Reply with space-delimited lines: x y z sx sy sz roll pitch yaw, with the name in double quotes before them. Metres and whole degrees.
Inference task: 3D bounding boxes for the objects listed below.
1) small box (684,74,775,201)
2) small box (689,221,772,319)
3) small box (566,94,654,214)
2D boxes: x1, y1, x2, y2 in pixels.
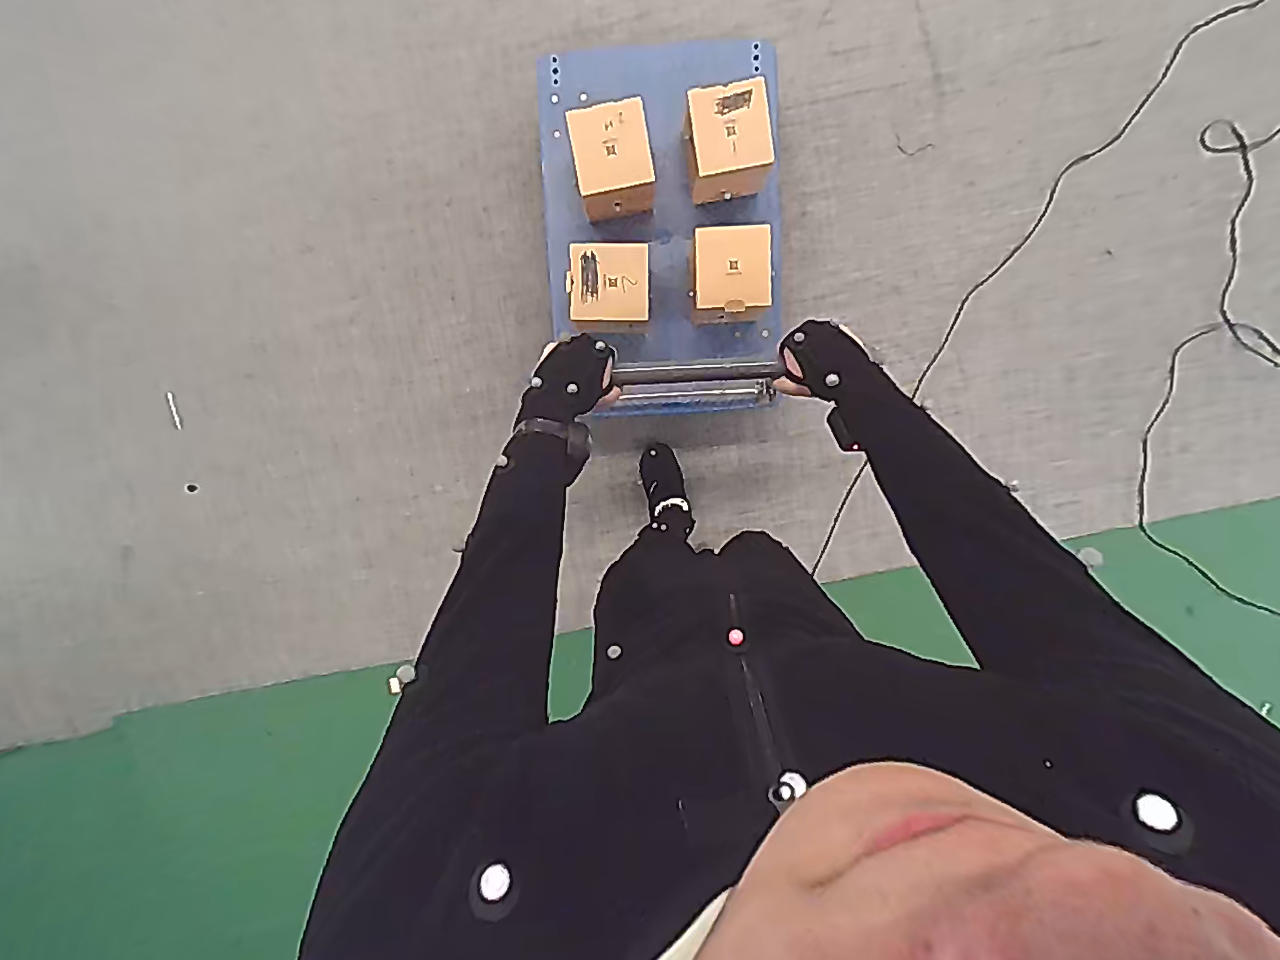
"small box" 0.195 -0.765 1.223 0.168 0.176 0.179 -9 98 2
"small box" 0.206 -0.482 1.260 0.168 0.176 0.179 -3 98 0
"small box" -0.062 -0.726 1.229 0.168 0.176 0.179 -10 97 1
